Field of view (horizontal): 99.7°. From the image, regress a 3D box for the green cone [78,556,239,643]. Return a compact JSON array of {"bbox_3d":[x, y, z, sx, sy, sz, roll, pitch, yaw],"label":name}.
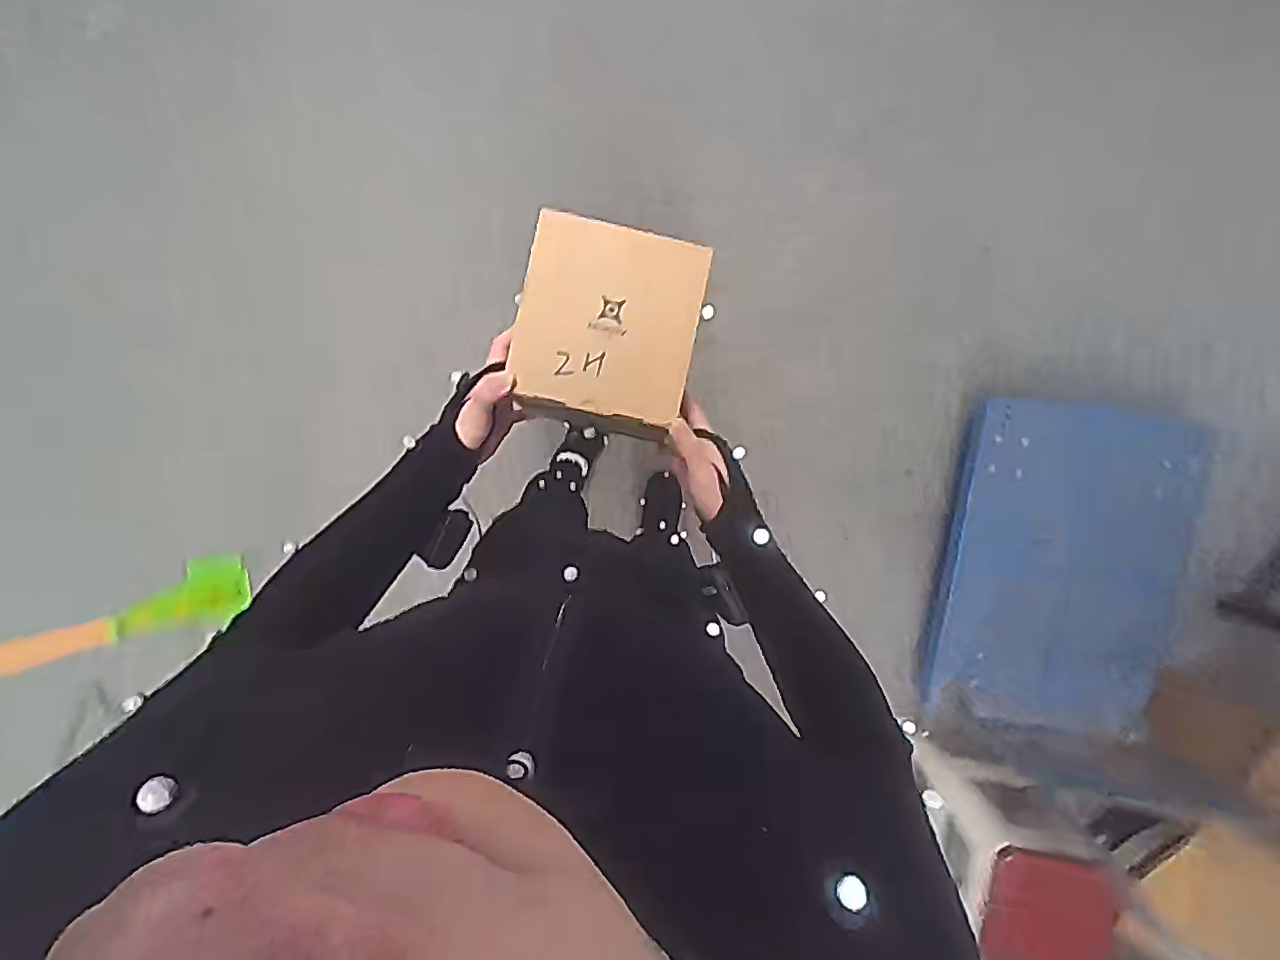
[{"bbox_3d":[-1.358,0.356,1.503,0.200,0.368,0.202,-3,97,3],"label":"green cone"}]
